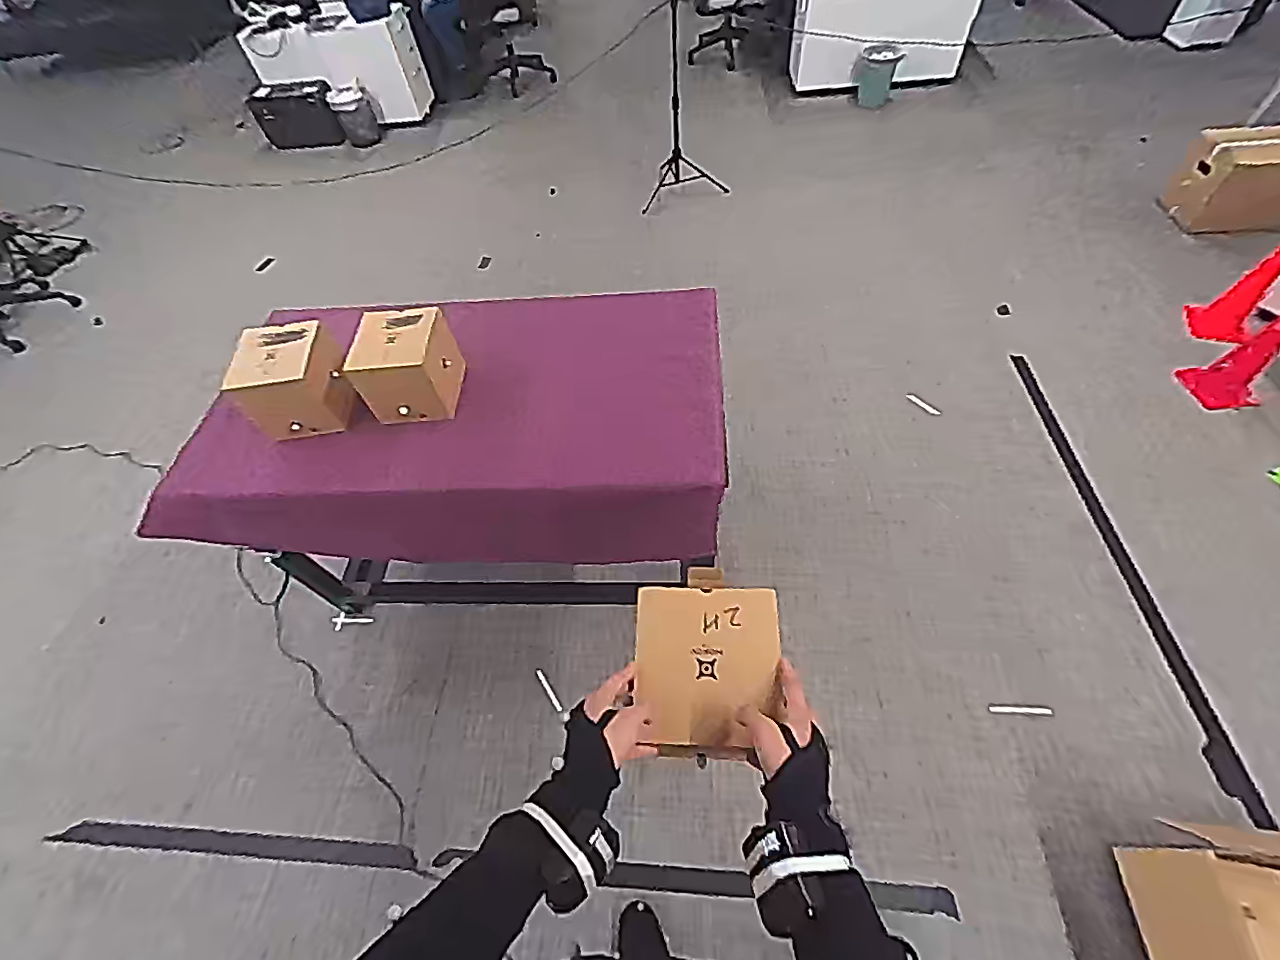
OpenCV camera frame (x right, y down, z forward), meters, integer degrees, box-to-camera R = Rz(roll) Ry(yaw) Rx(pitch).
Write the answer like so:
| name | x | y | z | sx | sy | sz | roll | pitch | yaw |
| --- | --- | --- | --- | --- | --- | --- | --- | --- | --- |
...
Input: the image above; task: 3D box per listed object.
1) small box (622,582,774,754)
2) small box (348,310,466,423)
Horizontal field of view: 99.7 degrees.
| name | x | y | z | sx | sy | sz | roll | pitch | yaw |
| --- | --- | --- | --- | --- | --- | --- | --- | --- | --- |
| small box | 0.073 | 0.243 | 0.685 | 0.168 | 0.176 | 0.179 | 1 | 58 | 5 |
| small box | -0.494 | -0.246 | 1.182 | 0.168 | 0.176 | 0.179 | -3 | 56 | 4 |
